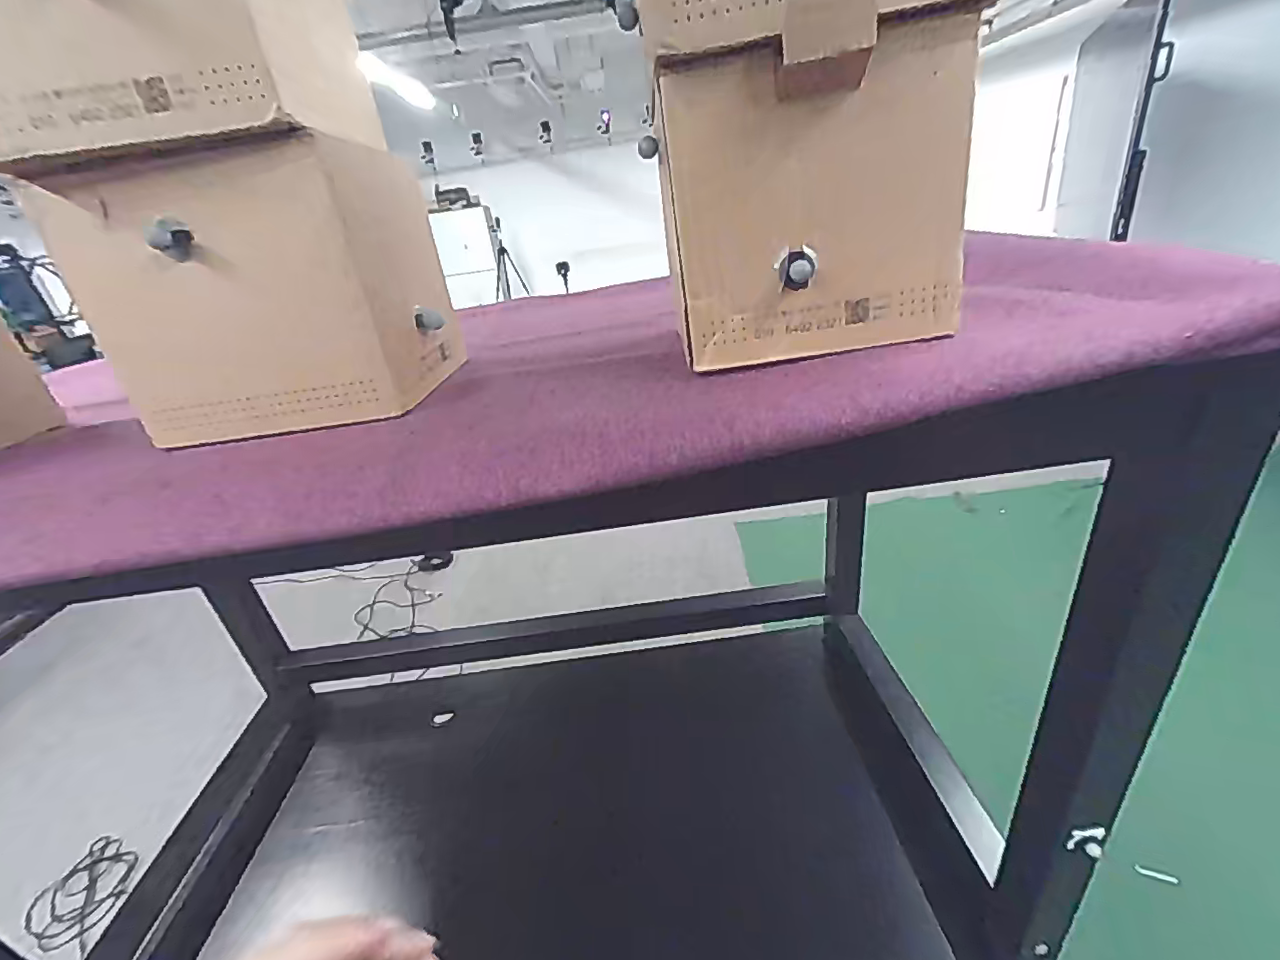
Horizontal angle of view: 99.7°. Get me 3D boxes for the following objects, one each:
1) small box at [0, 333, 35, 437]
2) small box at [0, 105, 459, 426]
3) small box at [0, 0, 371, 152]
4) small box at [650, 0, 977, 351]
[{"bbox_3d":[-0.601,-0.078,0.372,0.168,0.176,0.179,-11,28,-1],"label":"small box"},{"bbox_3d":[-0.258,-0.146,0.395,0.179,0.176,0.168,-7,26,2],"label":"small box"},{"bbox_3d":[-0.286,-0.286,0.314,0.168,0.176,0.179,-10,26,-3],"label":"small box"},{"bbox_3d":[0.099,-0.195,0.379,0.168,0.176,0.179,-8,25,5],"label":"small box"}]
